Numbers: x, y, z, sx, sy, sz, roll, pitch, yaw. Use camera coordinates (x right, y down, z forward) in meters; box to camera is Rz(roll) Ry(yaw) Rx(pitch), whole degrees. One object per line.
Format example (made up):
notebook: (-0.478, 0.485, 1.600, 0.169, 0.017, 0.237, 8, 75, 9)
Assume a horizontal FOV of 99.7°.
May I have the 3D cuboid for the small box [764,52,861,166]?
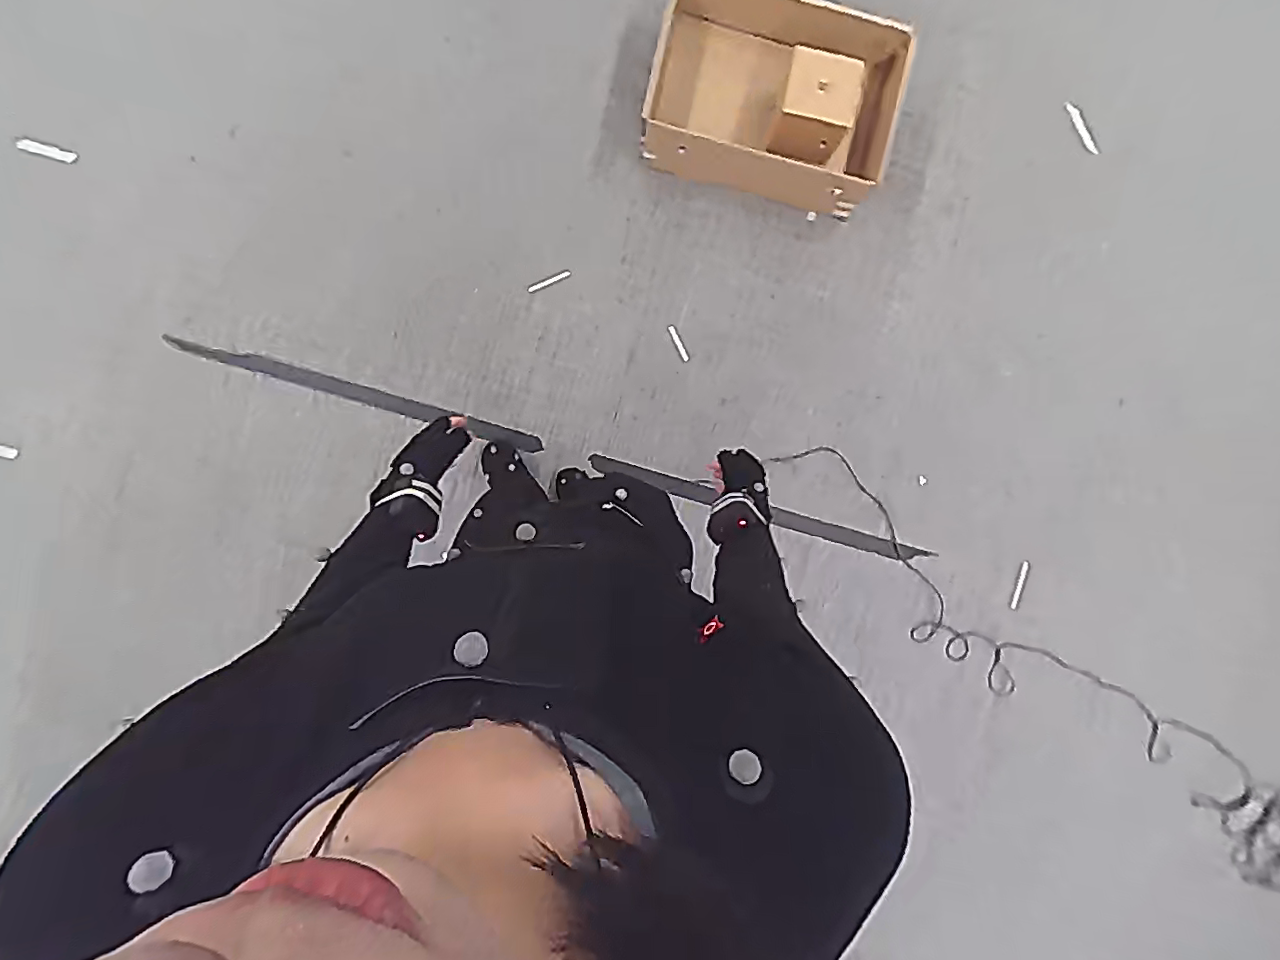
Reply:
small box: (0.437, -0.946, 1.395, 0.179, 0.176, 0.168, 11, 90, -1)
